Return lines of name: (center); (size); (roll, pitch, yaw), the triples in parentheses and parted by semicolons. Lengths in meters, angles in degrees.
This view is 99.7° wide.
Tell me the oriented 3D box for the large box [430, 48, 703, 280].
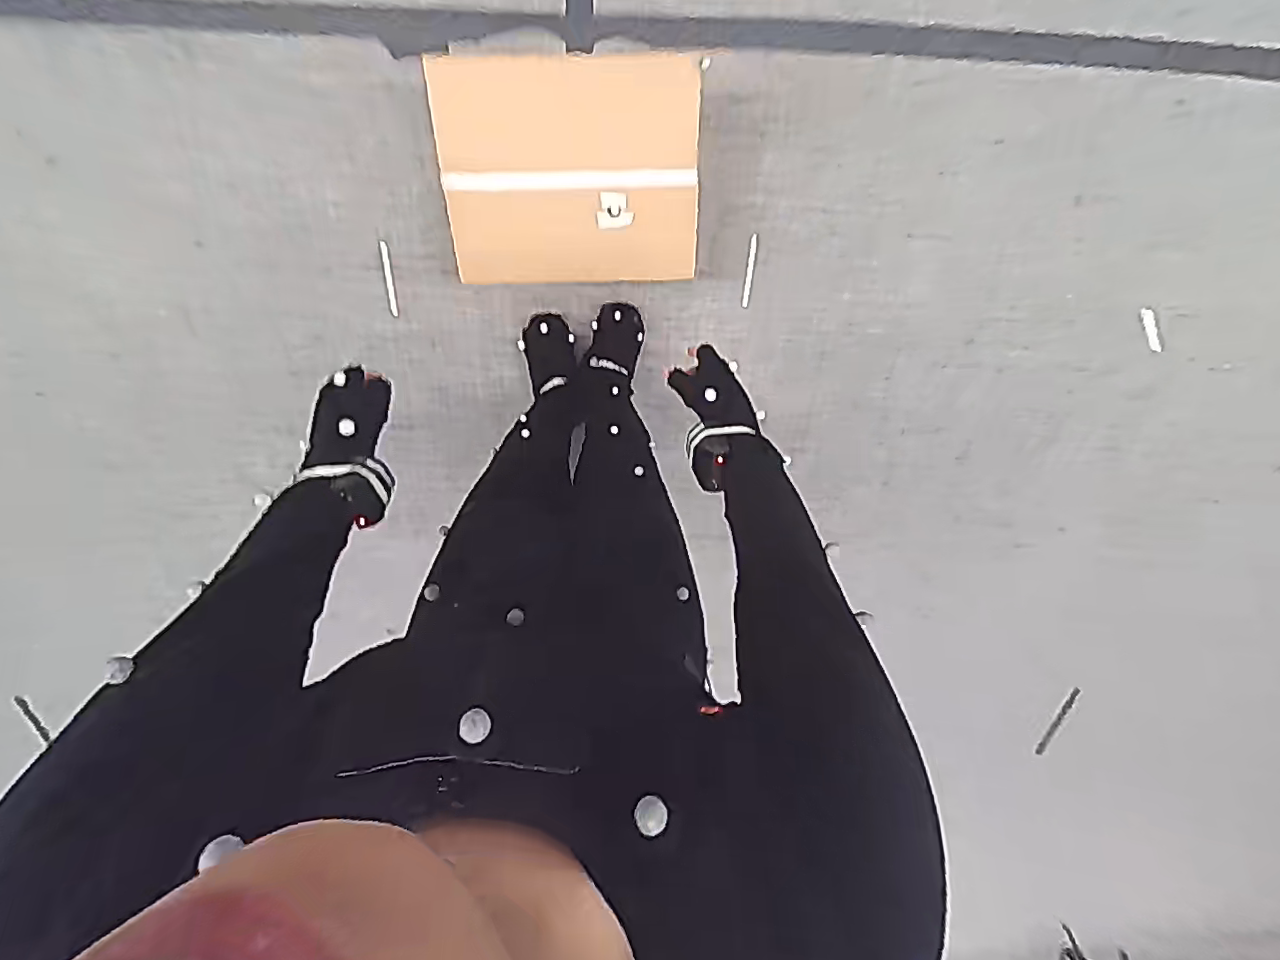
large box: (-0.112, -0.559, 0.986); (0.408, 0.320, 0.320); (-3, 121, -3)
